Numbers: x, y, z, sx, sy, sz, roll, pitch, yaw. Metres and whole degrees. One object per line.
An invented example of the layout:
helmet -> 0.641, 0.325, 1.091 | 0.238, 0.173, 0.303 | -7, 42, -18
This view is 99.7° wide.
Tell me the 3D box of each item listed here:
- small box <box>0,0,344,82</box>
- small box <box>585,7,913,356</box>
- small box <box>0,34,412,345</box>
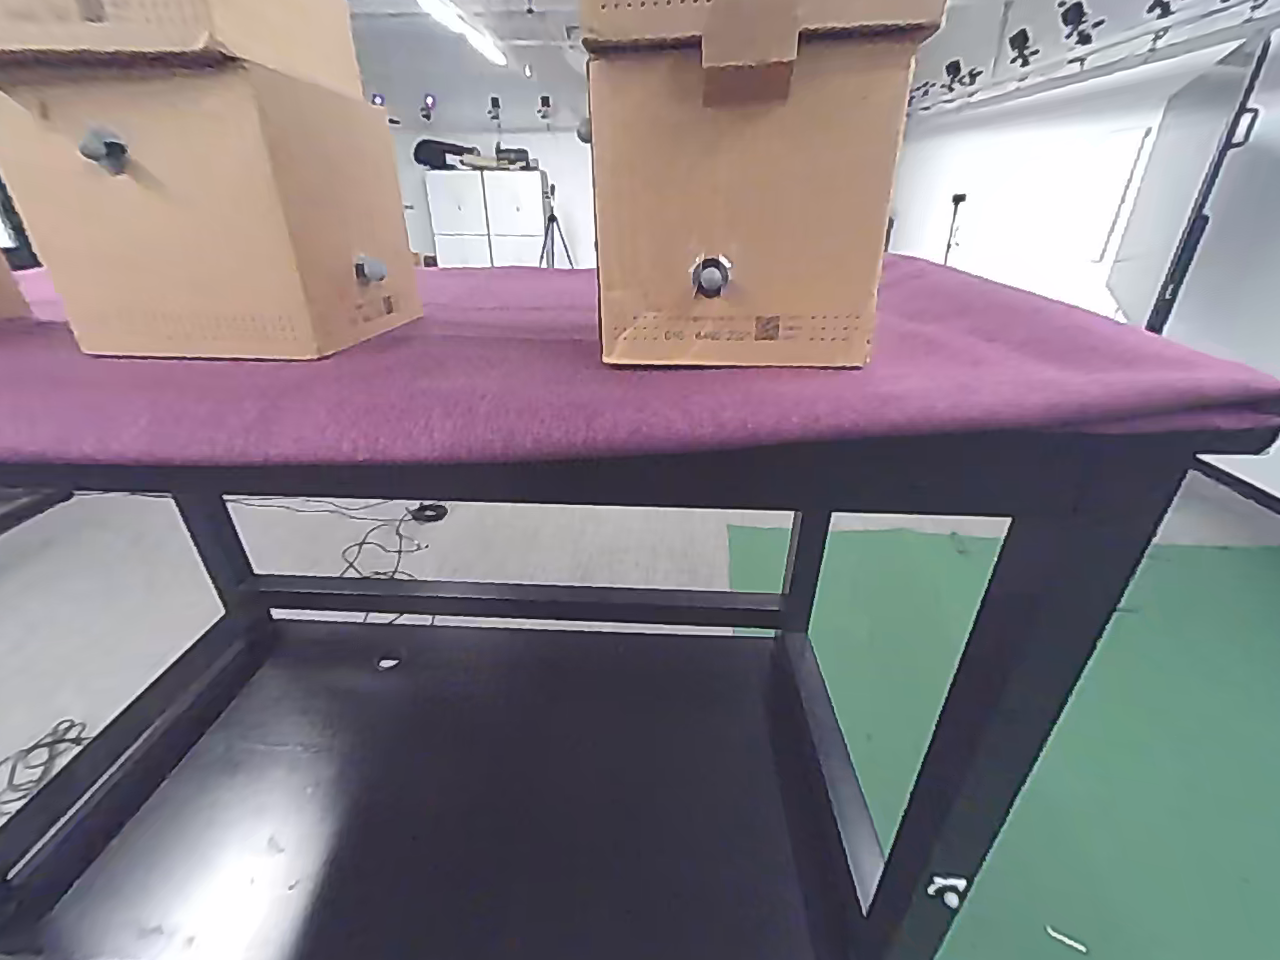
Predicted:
small box -> -0.306, -0.341, 0.318 | 0.168, 0.176, 0.179 | -1, 28, -1
small box -> 0.061, -0.191, 0.376 | 0.168, 0.176, 0.179 | 1, 26, 6
small box -> -0.299, -0.200, 0.402 | 0.179, 0.176, 0.168 | 2, 27, 3
